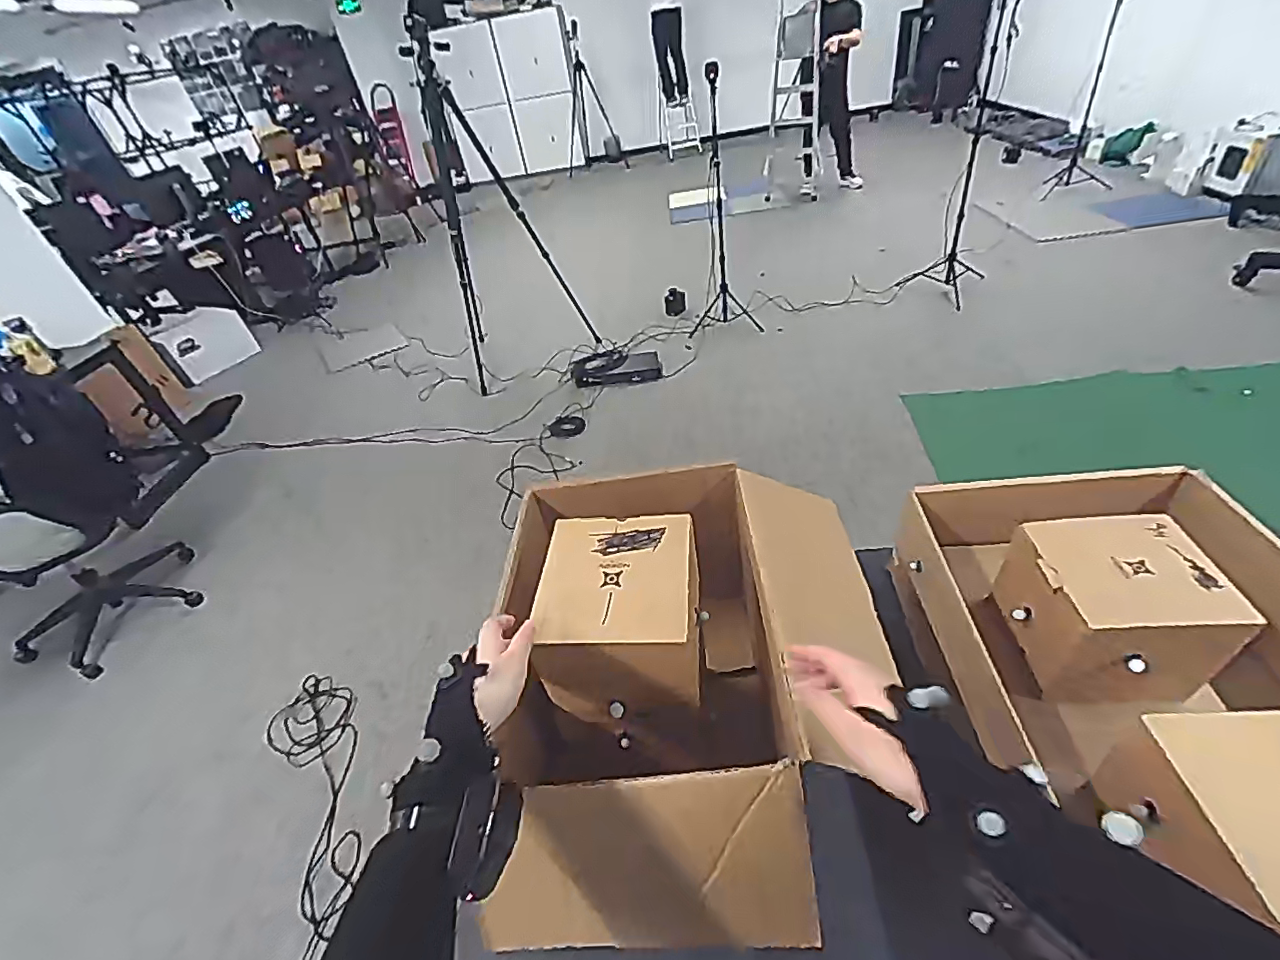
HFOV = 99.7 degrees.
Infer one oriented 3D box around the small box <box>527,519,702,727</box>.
[{"bbox_3d":[-0.016,0.166,0.641,0.168,0.176,0.179,-3,42,9],"label":"small box"}]
